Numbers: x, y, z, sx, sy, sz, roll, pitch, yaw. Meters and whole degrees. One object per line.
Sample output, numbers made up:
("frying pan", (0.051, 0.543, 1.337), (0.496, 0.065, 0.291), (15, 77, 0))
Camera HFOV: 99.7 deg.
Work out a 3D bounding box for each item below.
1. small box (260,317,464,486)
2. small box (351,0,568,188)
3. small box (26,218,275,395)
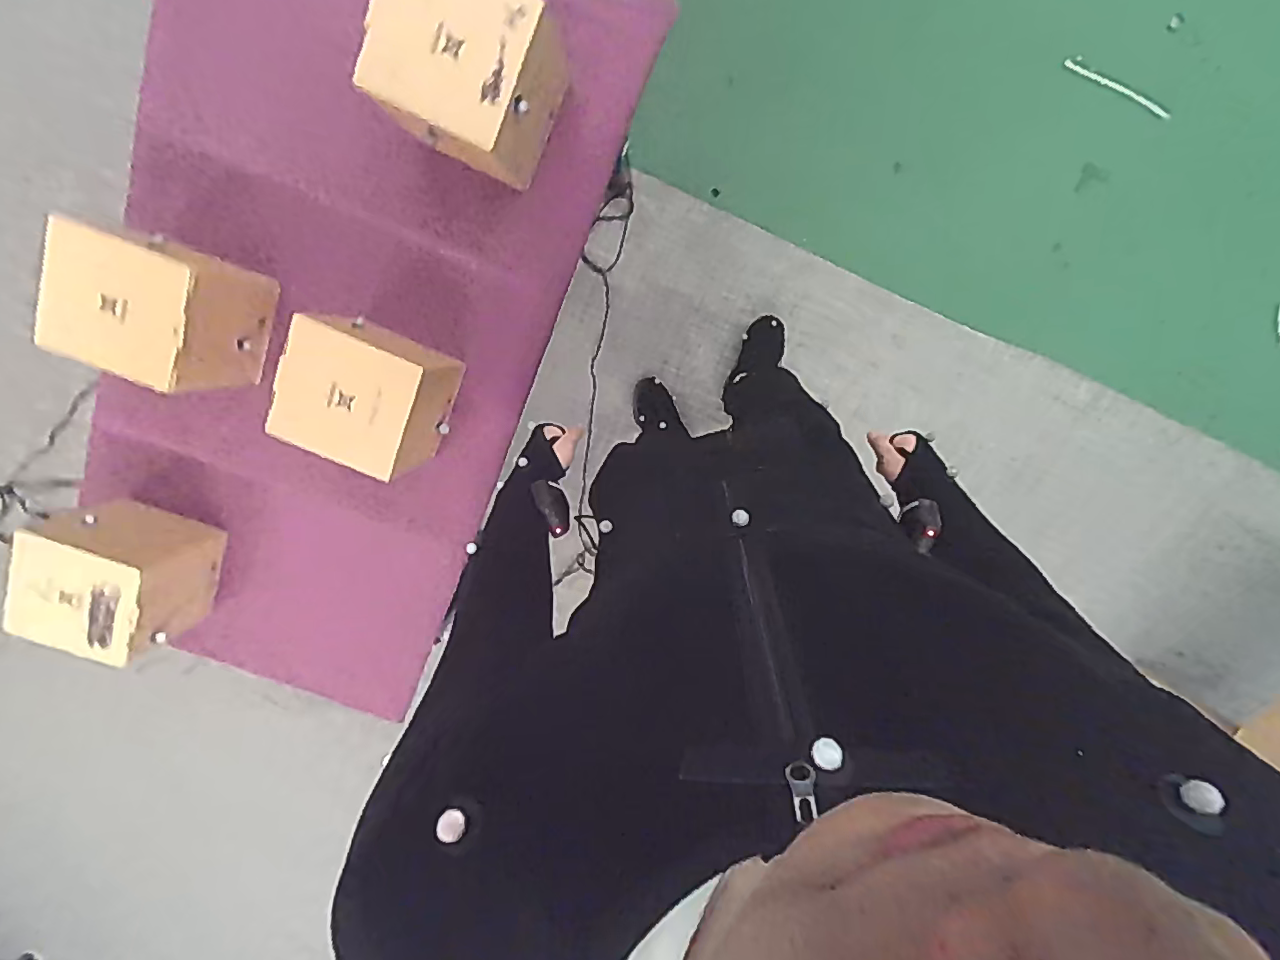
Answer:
("small box", (-0.379, -0.113, 0.766), (0.179, 0.176, 0.168), (23, 103, -5))
("small box", (-0.210, -0.497, 0.672), (0.179, 0.176, 0.168), (25, 103, -3))
("small box", (-0.654, -0.226, 0.741), (0.179, 0.176, 0.168), (20, 102, -6))
